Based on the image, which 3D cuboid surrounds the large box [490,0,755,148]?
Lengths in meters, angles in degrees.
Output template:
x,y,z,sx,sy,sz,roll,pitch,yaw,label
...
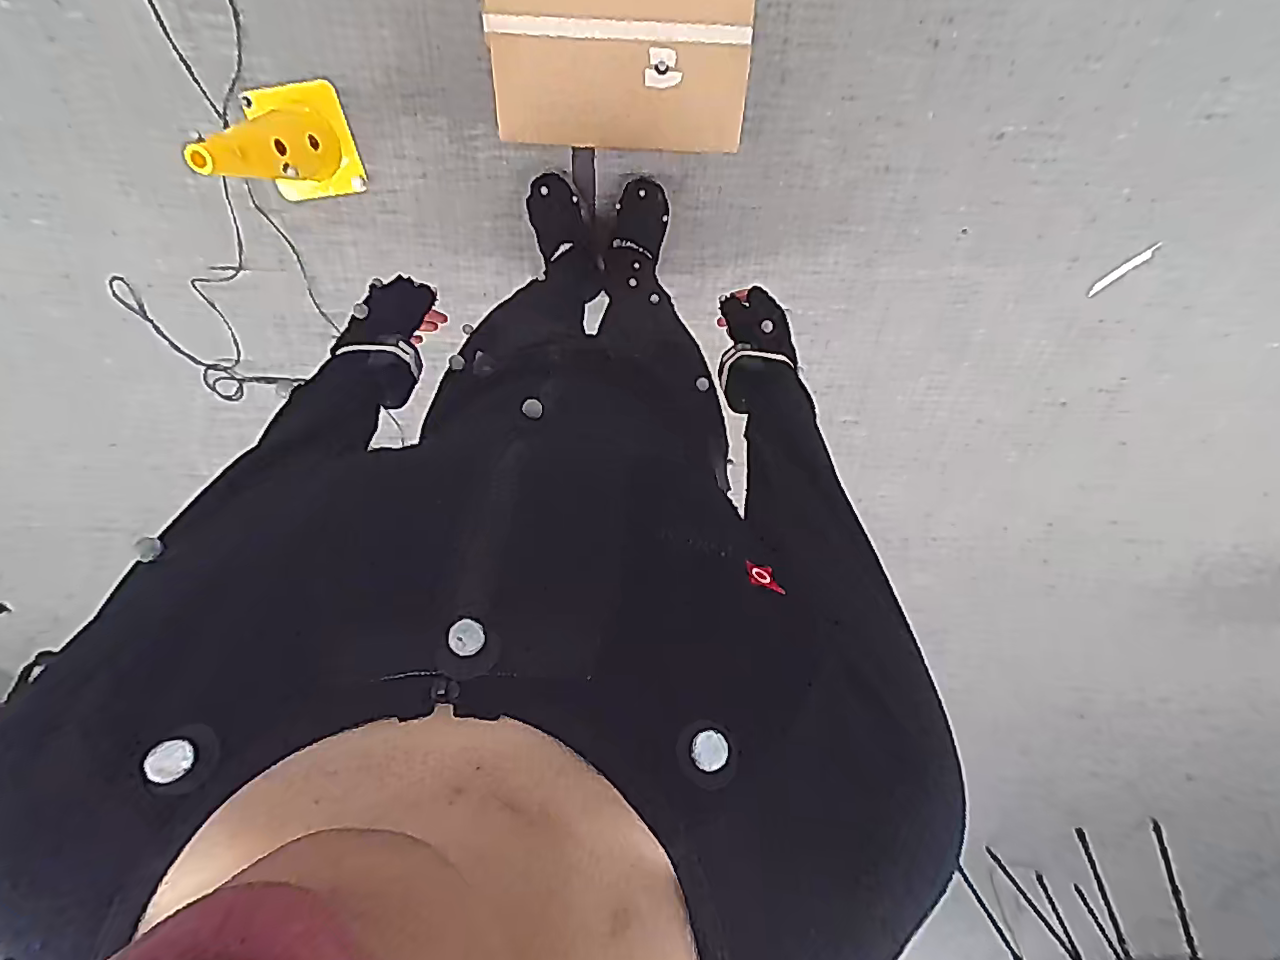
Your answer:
x,y,z,sx,sy,sz,roll,pitch,yaw,label
-0.032,-0.774,0.944,0.408,0.320,0.320,1,125,-3,large box
